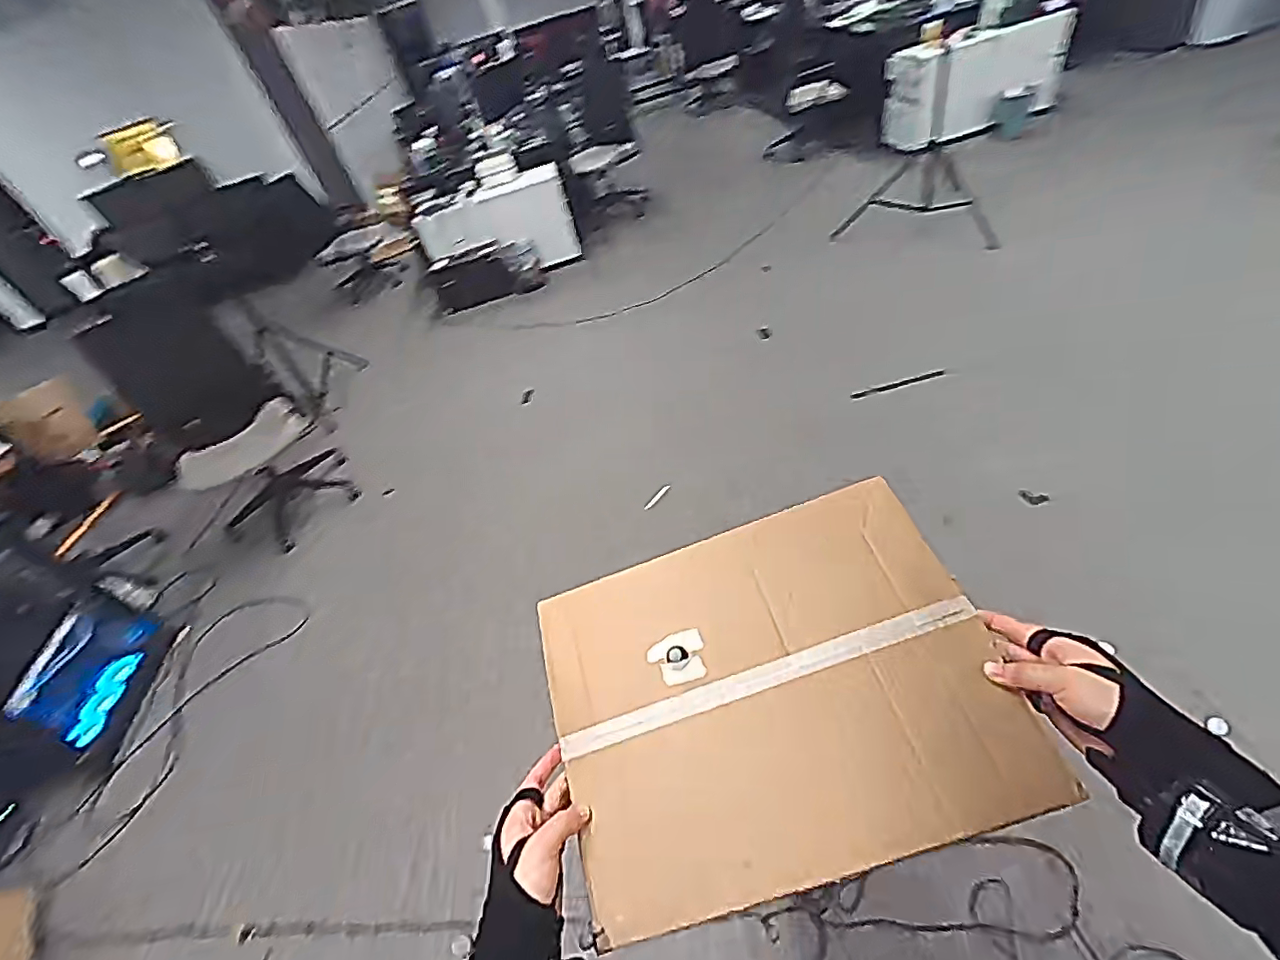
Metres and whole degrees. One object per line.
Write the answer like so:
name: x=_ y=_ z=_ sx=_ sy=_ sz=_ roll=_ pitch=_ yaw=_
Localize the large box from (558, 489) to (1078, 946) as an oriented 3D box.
large box: x=0.167 y=0.272 z=0.645 sx=0.408 sy=0.320 sz=0.320 roll=-21 pitch=55 yaw=5
